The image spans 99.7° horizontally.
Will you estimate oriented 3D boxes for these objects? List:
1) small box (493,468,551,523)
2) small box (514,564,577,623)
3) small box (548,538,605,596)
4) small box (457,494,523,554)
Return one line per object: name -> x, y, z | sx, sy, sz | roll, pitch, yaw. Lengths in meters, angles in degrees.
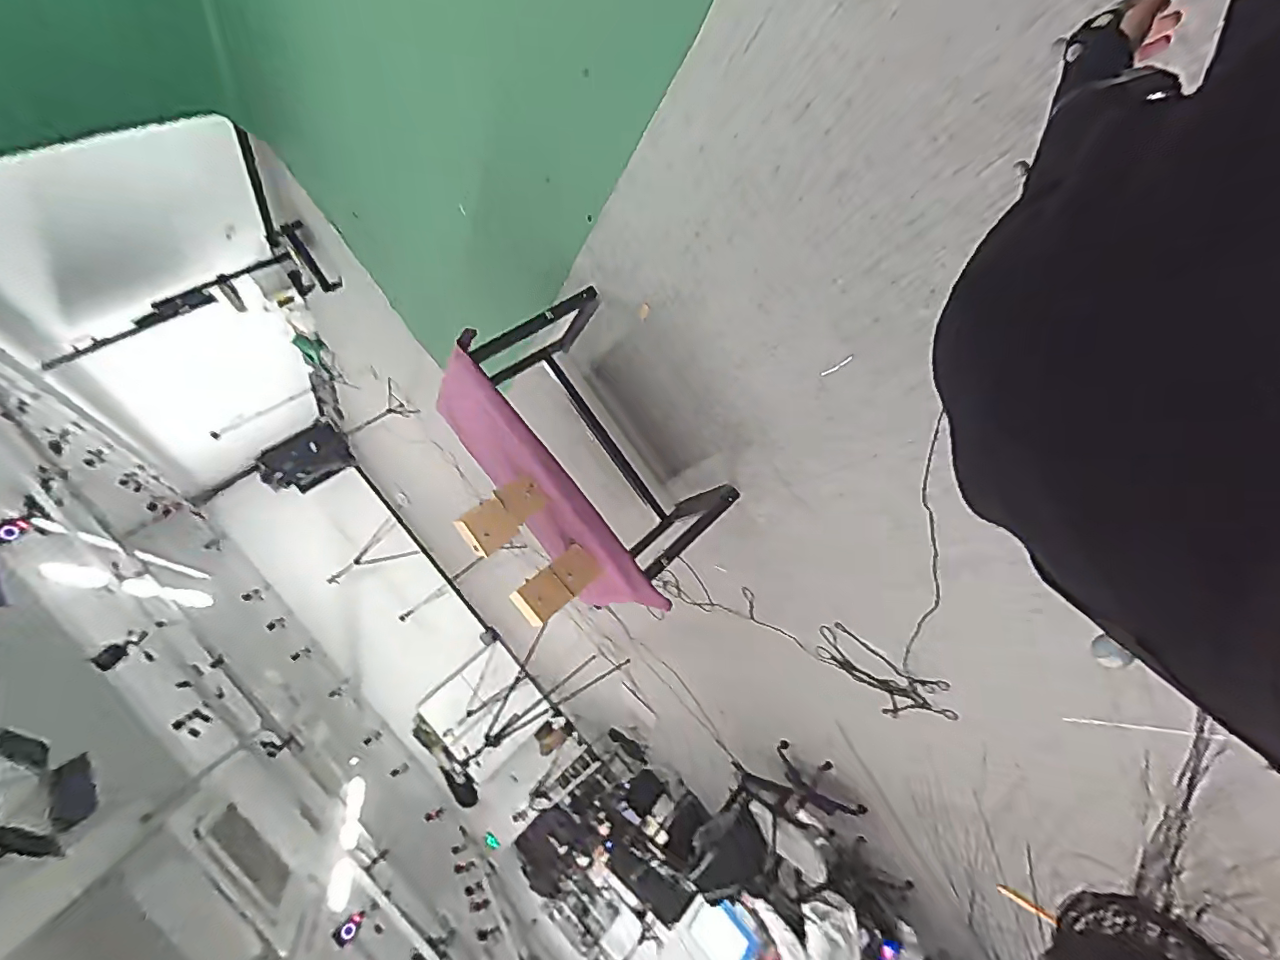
small box -> -0.498, 0.074, 2.267 | 0.168, 0.176, 0.179 | 54, 152, -7
small box -> -0.389, 0.463, 2.232 | 0.179, 0.176, 0.168 | 49, 150, 0
small box -> -0.278, 0.377, 2.313 | 0.179, 0.176, 0.168 | 51, 151, -1
small box -> -0.603, 0.174, 2.188 | 0.168, 0.176, 0.179 | -5, 120, 57
